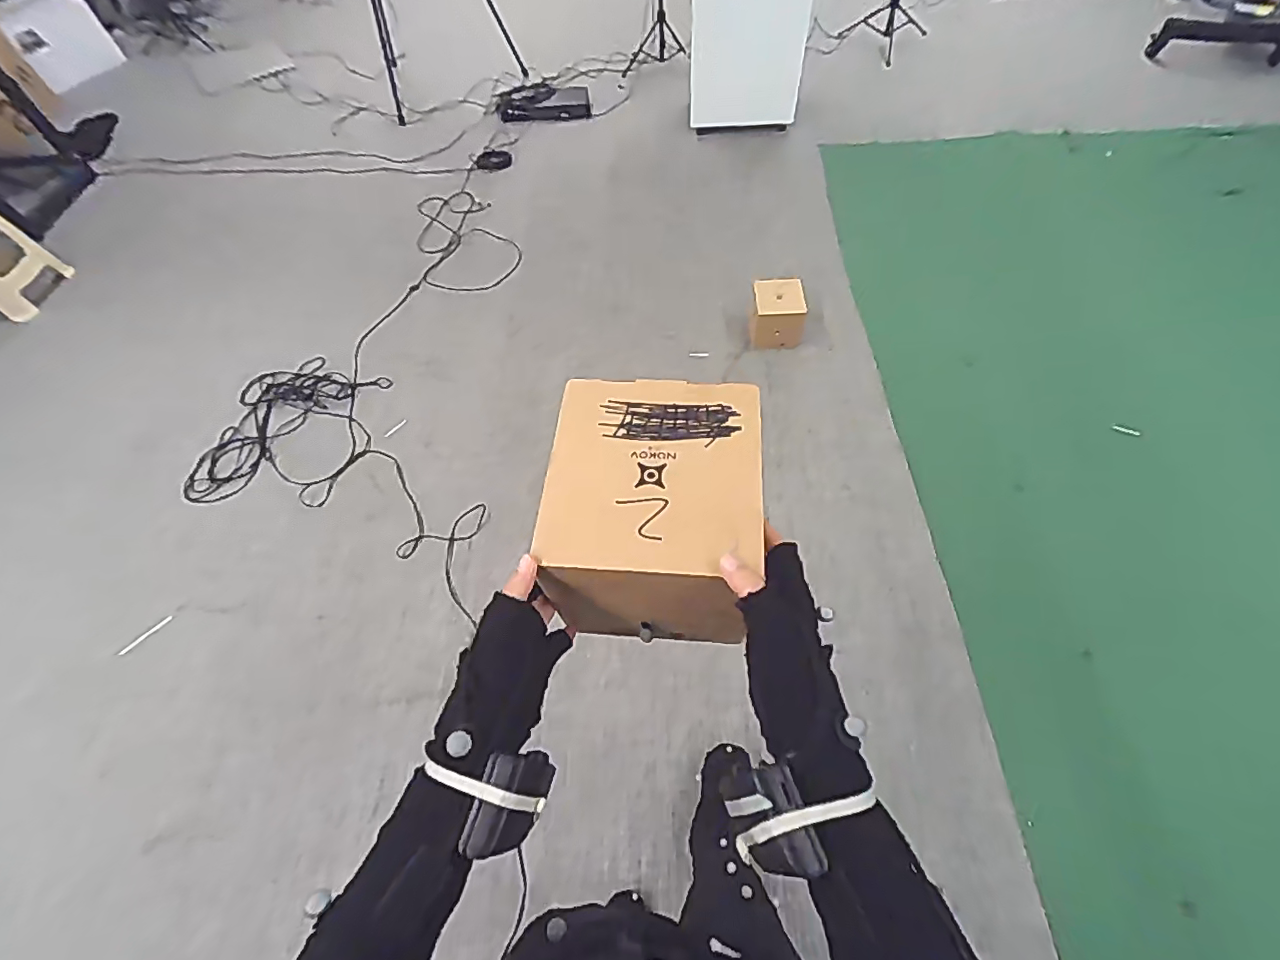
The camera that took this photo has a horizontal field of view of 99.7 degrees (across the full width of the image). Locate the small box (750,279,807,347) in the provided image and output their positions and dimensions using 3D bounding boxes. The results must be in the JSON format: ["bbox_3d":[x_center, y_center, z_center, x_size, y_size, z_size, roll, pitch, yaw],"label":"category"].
[{"bbox_3d":[0.487,-0.588,1.923,0.168,0.176,0.179,-1,58,3],"label":"small box"}]
